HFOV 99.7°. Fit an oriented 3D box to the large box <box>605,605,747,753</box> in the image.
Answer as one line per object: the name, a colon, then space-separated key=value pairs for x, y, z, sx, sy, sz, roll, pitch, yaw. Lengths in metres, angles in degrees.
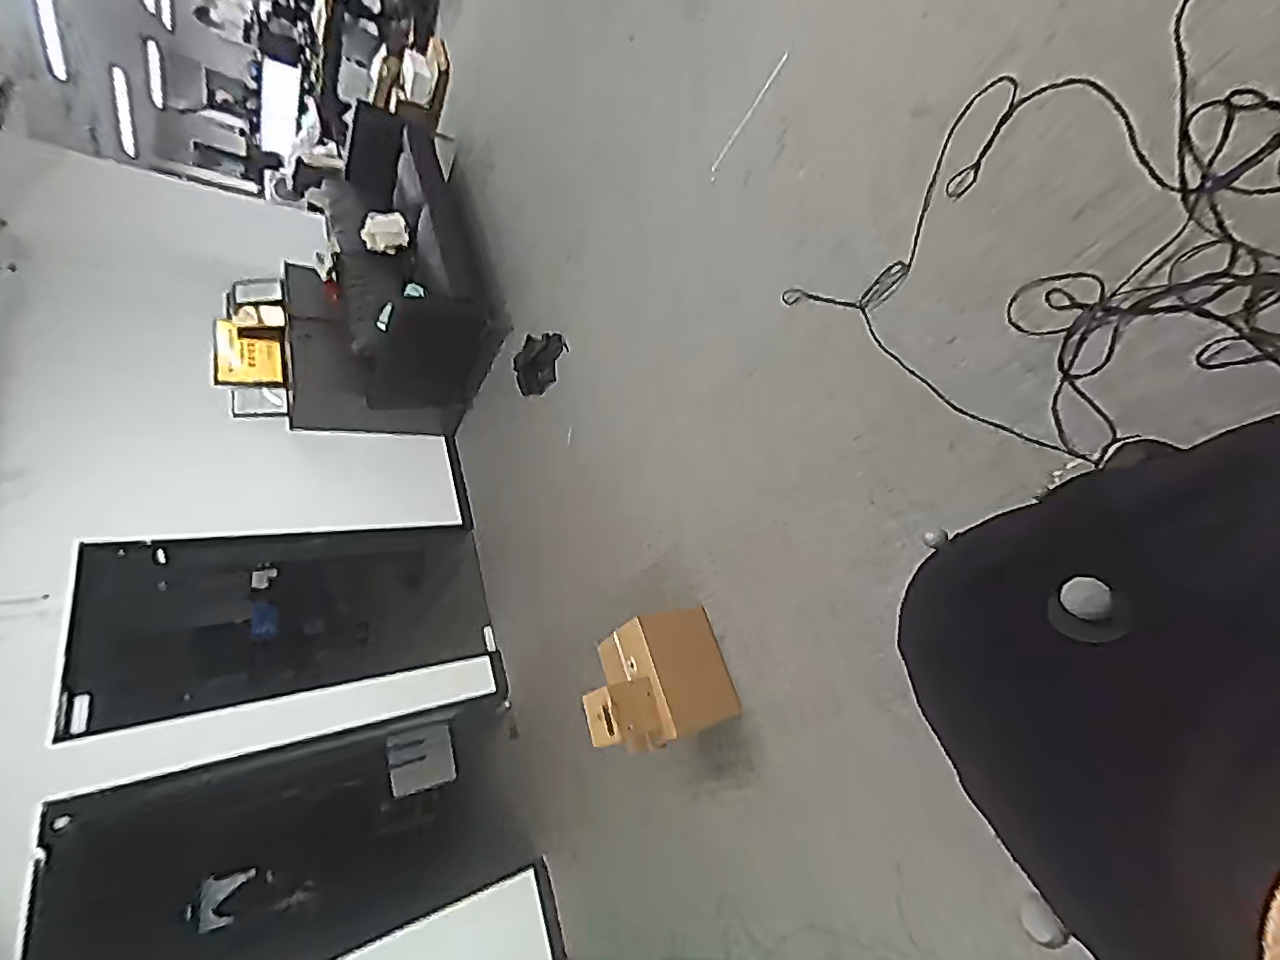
large box: x=0.122 y=0.713 z=1.968 sx=0.320 sy=0.320 sz=0.408 roll=-46 pitch=53 yaw=42
